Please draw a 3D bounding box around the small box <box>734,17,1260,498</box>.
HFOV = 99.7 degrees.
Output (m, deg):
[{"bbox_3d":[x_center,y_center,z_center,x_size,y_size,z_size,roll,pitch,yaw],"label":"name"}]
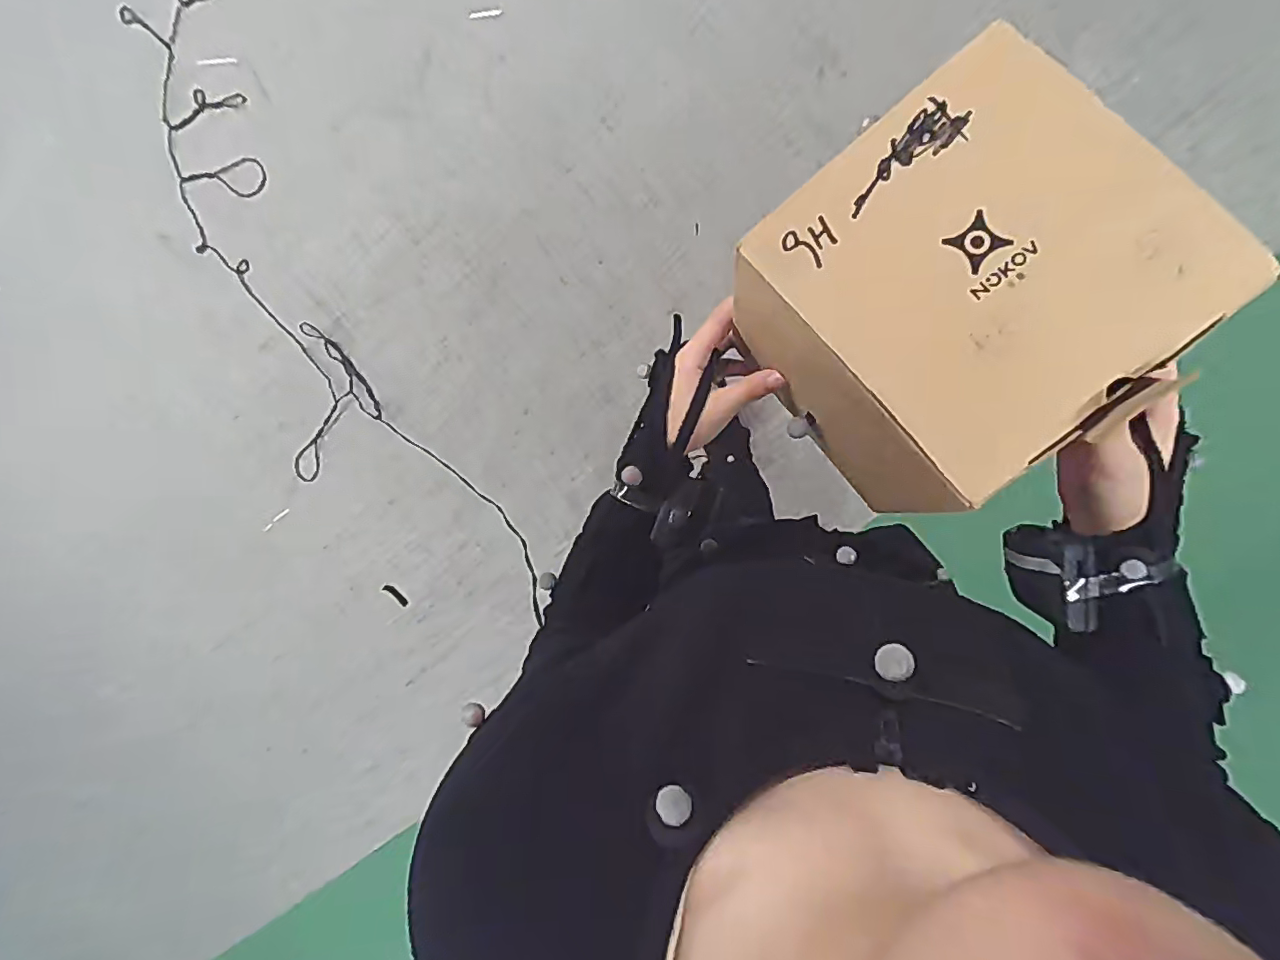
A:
[{"bbox_3d":[0.176,-0.106,0.337,0.168,0.176,0.179,-37,82,5],"label":"small box"}]
